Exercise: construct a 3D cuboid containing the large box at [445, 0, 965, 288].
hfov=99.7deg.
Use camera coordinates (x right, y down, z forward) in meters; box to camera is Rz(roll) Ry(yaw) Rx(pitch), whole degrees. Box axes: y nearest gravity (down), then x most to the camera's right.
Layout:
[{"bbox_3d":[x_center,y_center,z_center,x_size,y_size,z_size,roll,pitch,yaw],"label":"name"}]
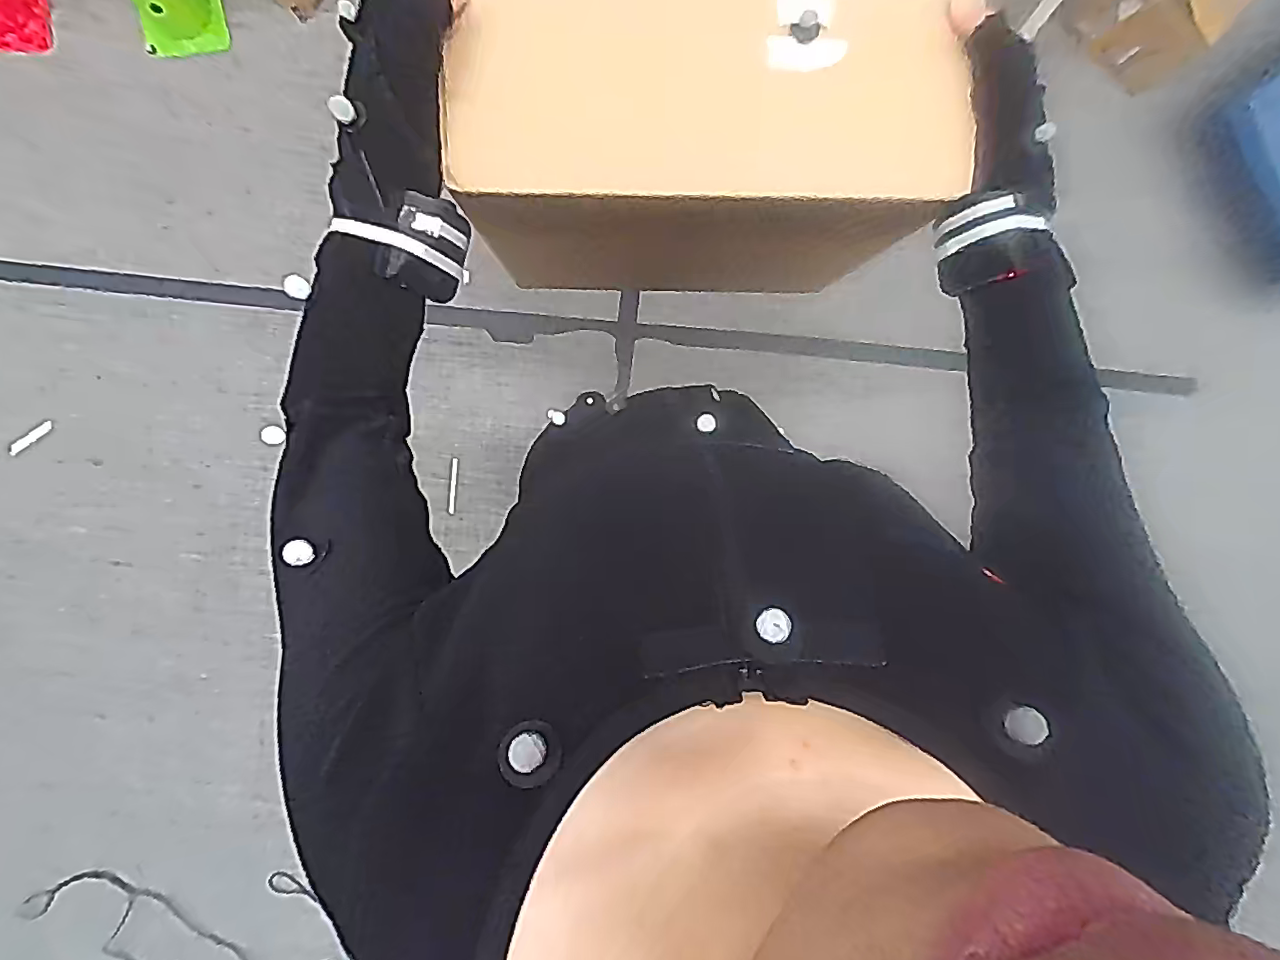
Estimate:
[{"bbox_3d":[0.043,-0.394,0.554,0.408,0.320,0.320,0,96,-3],"label":"large box"}]
